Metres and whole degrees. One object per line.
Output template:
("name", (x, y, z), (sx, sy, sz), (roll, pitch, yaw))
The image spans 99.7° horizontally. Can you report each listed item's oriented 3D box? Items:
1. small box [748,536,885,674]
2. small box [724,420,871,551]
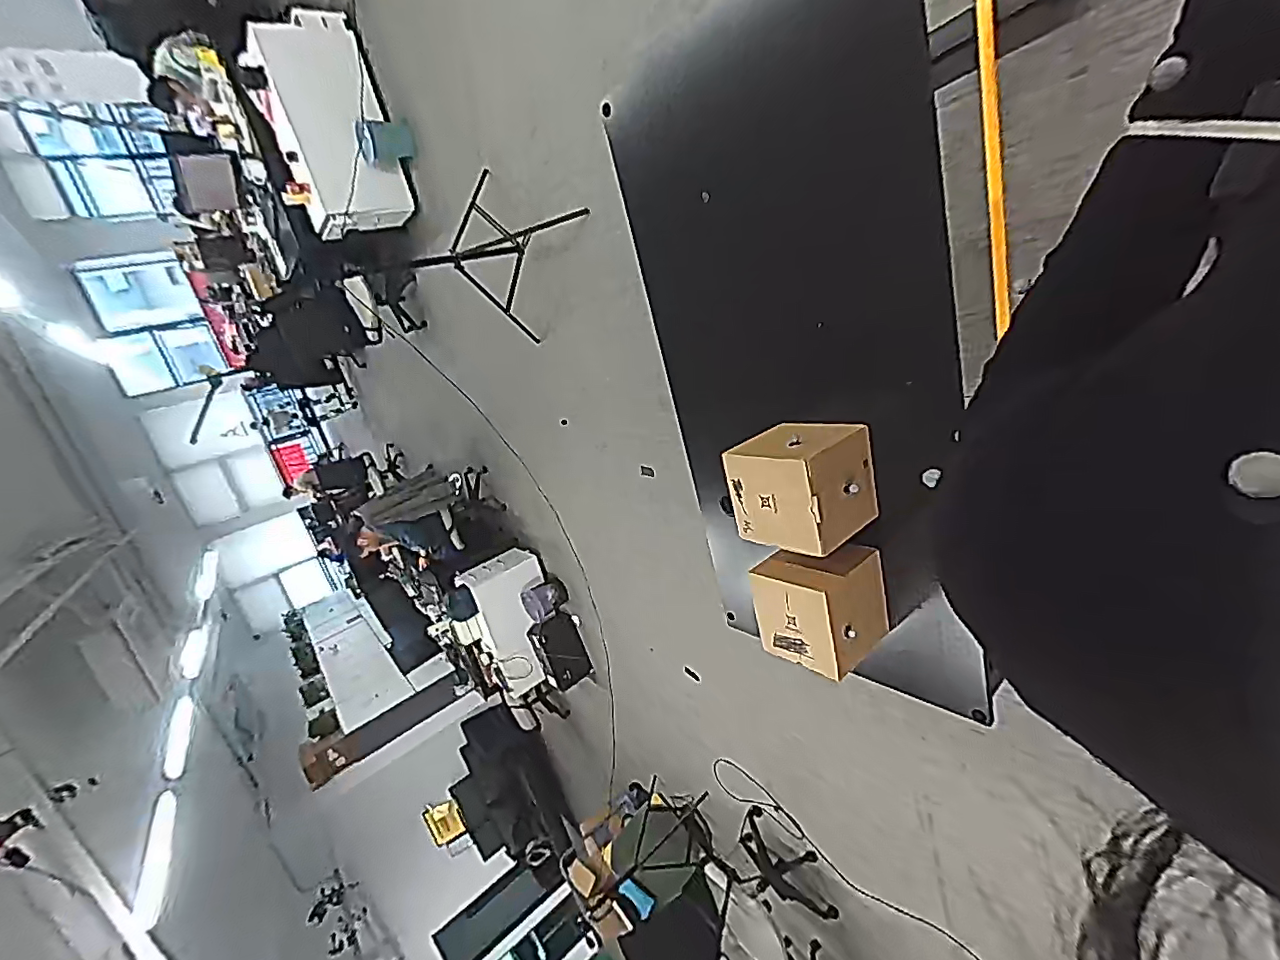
("small box", (0.330, 0.213, 0.997), (0.168, 0.176, 0.179), (8, 117, 52))
("small box", (0.276, -0.001, 0.925), (0.179, 0.176, 0.168), (8, 119, 52))
